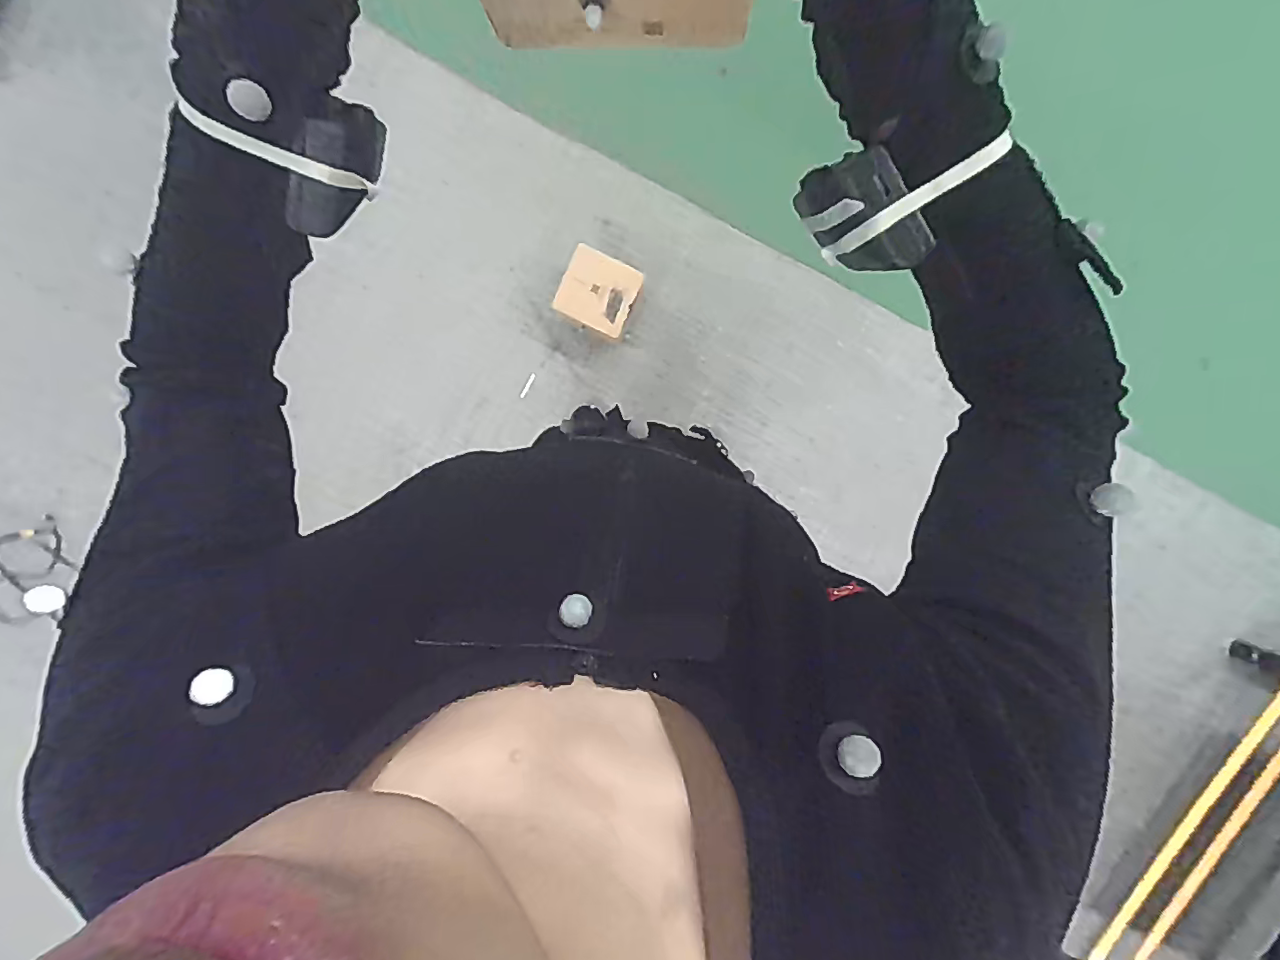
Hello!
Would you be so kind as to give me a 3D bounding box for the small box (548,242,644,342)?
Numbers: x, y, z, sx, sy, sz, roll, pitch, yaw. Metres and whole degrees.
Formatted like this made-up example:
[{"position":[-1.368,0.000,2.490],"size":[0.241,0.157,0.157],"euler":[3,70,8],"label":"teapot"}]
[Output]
[{"position":[-0.102,-0.452,1.332],"size":[0.179,0.176,0.168],"euler":[25,96,-3],"label":"small box"}]
